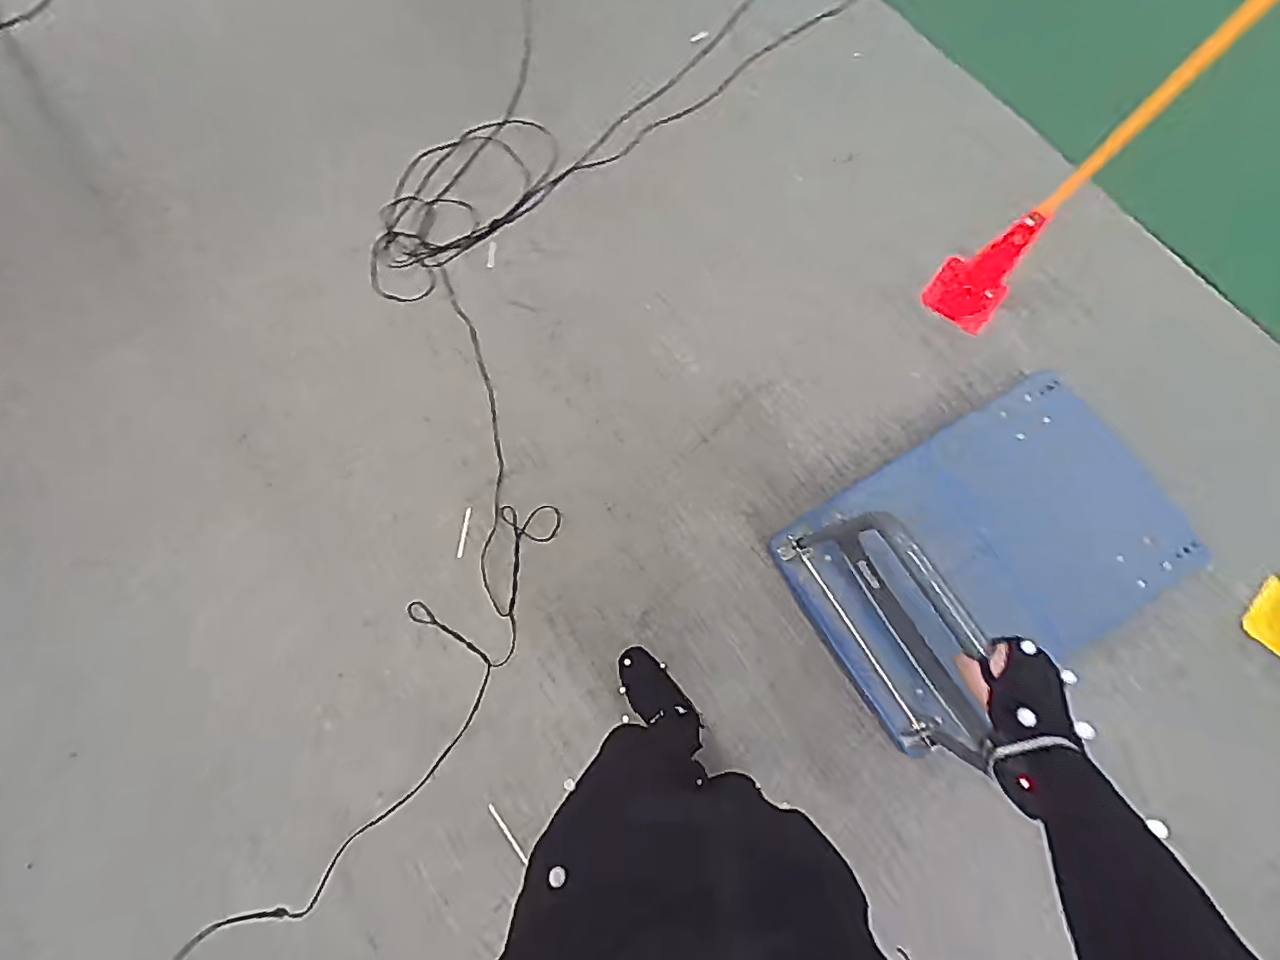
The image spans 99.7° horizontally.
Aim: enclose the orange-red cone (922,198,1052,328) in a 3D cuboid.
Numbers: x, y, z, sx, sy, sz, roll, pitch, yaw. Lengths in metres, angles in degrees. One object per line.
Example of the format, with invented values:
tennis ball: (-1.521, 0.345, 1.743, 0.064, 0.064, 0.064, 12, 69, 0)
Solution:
orange-red cone: (0.961, -0.609, 1.449, 0.199, 0.360, 0.198, 38, 80, 11)
